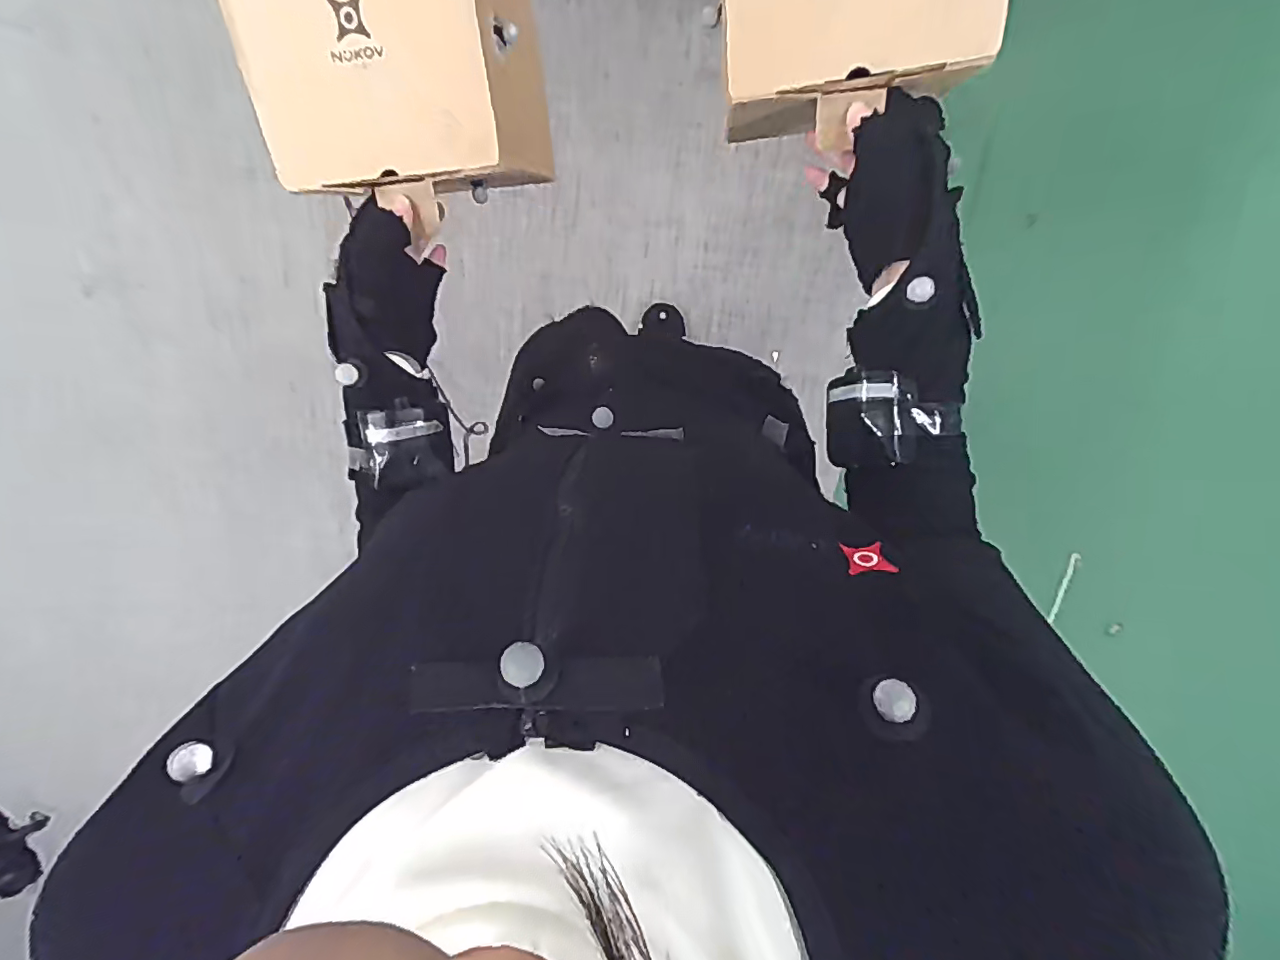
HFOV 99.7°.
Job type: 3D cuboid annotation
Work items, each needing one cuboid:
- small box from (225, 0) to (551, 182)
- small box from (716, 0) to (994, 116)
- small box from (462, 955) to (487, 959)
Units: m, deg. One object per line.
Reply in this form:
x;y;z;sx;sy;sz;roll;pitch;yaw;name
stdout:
-0.174;-0.333;0.411;0.168;0.176;0.179;-4;116;6;small box
0.138;-0.378;0.385;0.168;0.176;0.179;-3;114;9;small box
-0.463;1.487;1.512;0.179;0.176;0.168;12;103;-1;small box
